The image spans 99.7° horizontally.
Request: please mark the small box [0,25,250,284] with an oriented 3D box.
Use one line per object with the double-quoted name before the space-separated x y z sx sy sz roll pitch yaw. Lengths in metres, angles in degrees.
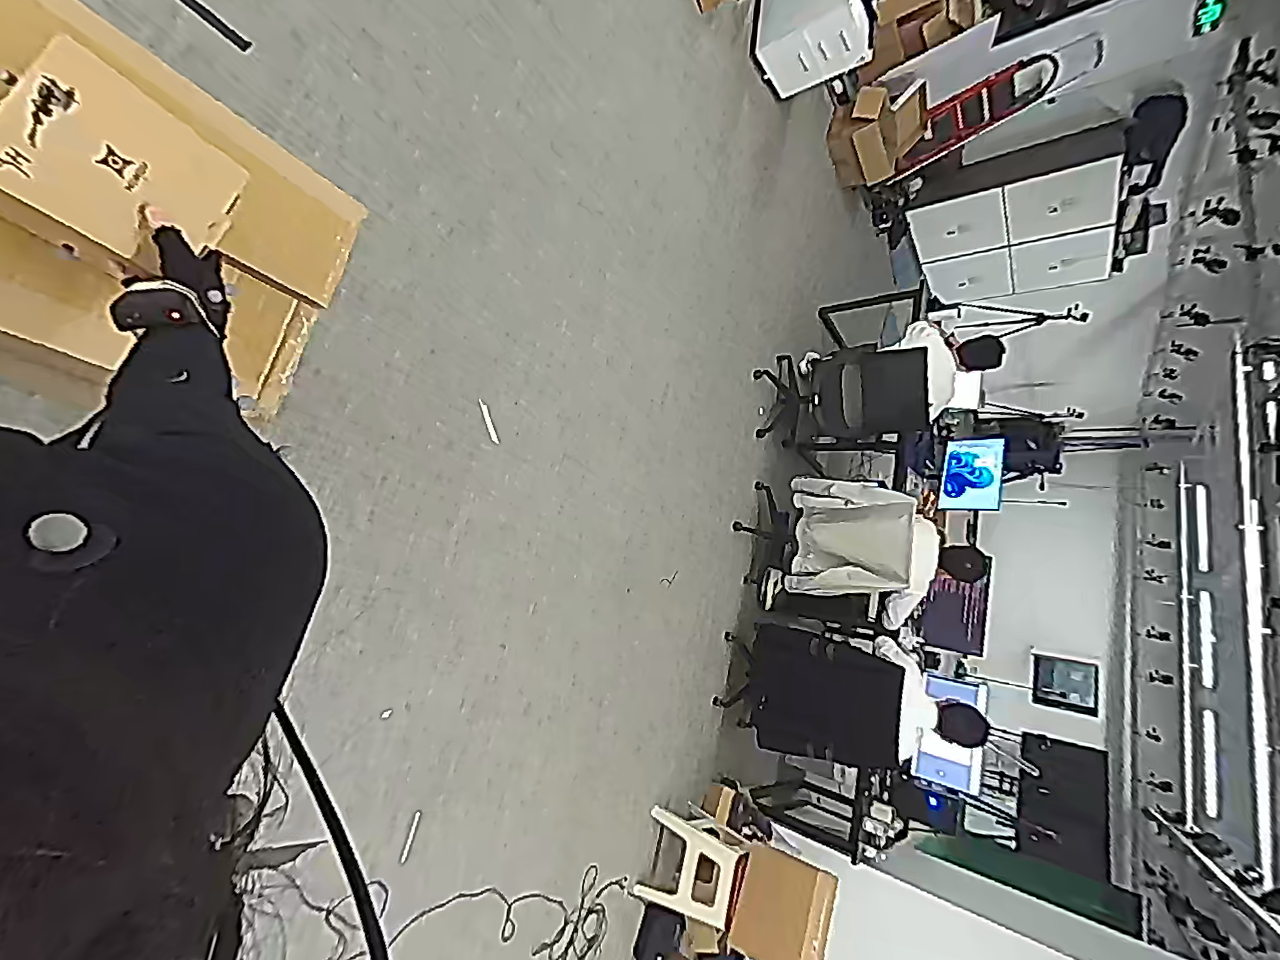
"small box" -0.597 -0.343 0.608 0.179 0.176 0.168 38 71 -49
